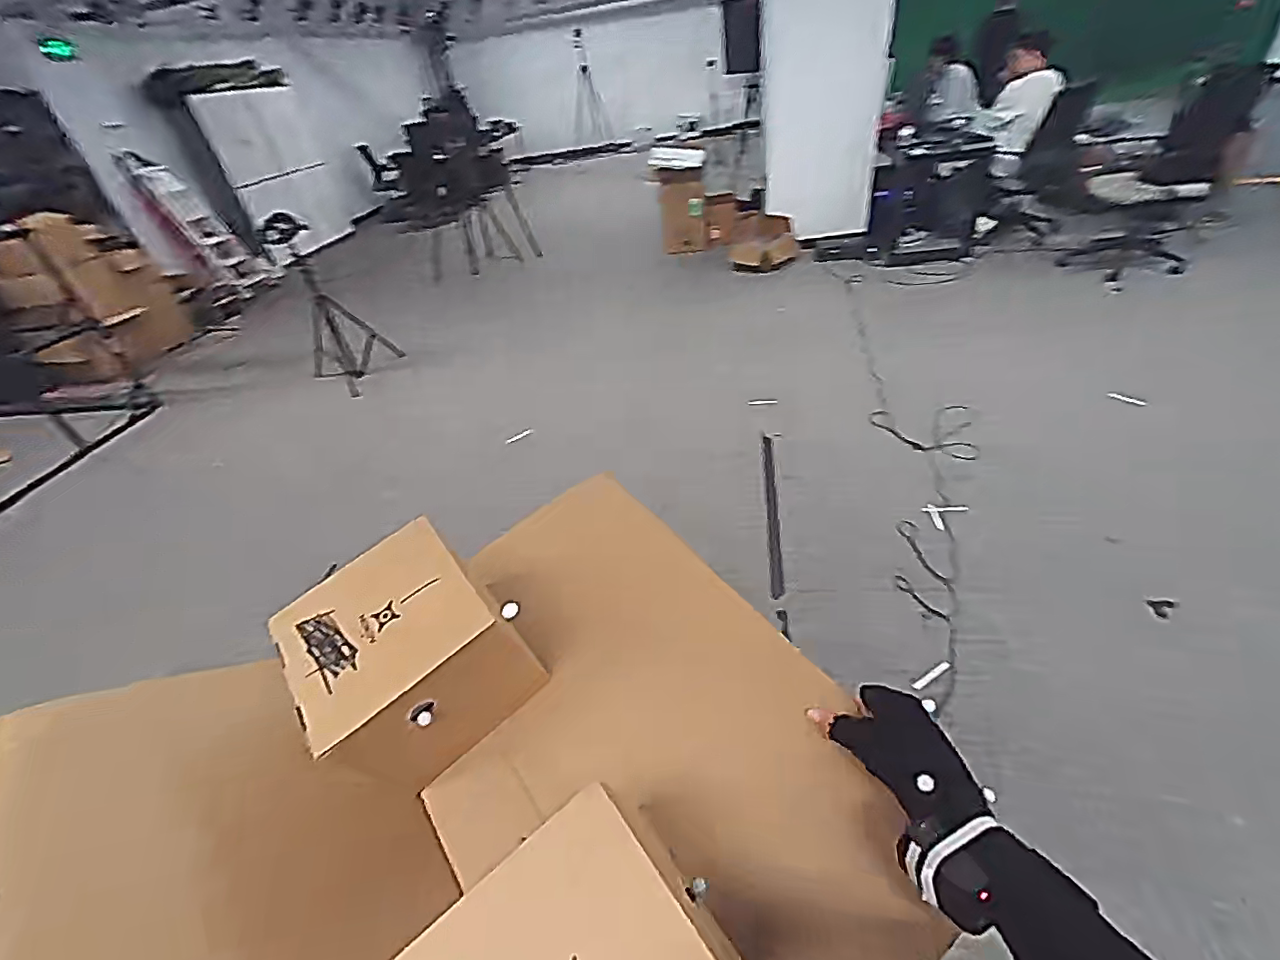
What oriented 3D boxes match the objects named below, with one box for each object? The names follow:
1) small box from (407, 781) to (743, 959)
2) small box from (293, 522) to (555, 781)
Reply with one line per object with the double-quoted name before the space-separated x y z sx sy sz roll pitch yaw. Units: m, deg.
"small box" -0.028 0.363 0.398 0.179 0.176 0.168 -36 53 -14
"small box" -0.220 0.187 0.581 0.179 0.176 0.168 -36 54 -16
